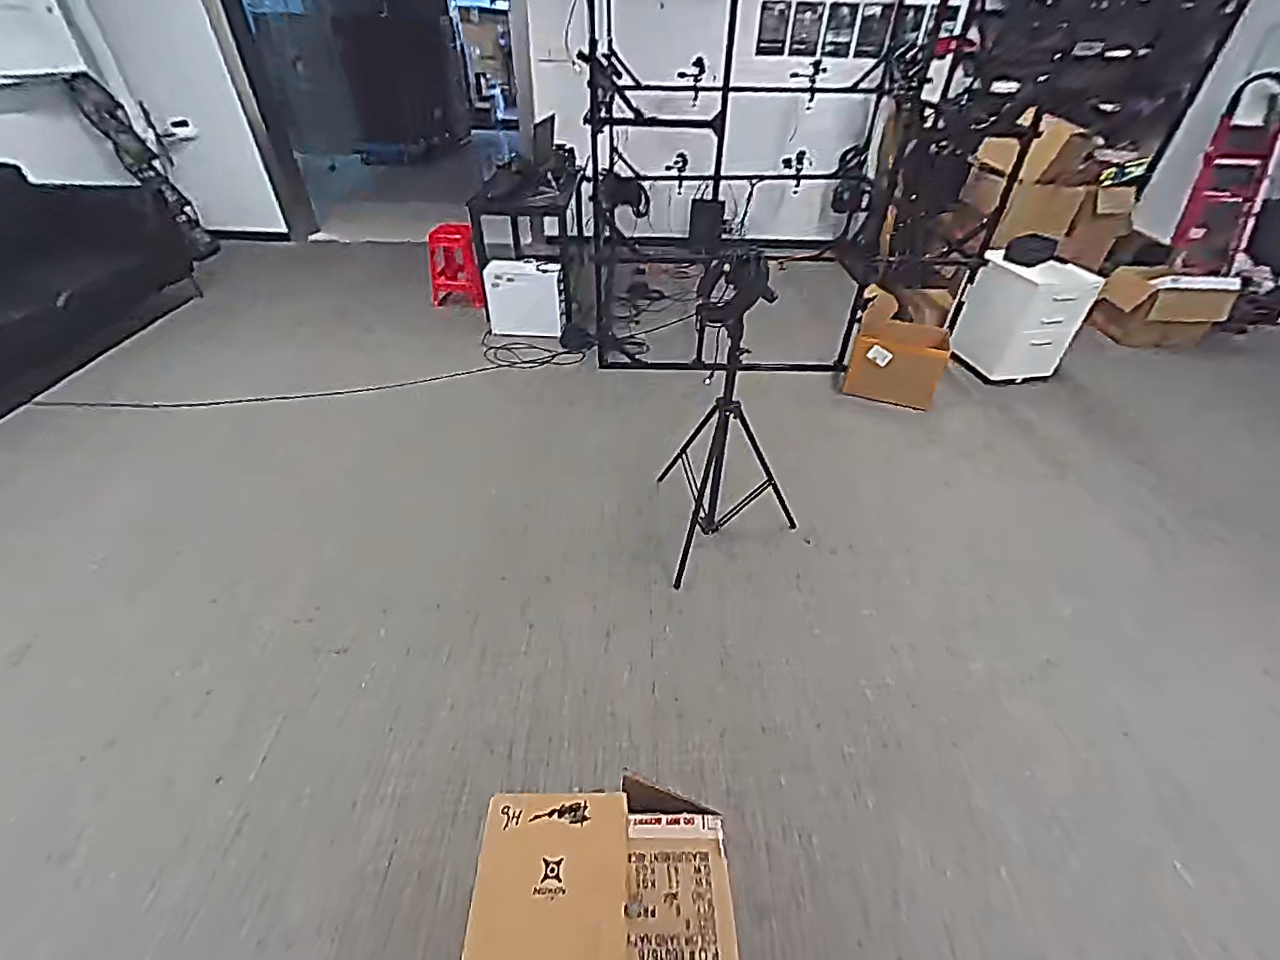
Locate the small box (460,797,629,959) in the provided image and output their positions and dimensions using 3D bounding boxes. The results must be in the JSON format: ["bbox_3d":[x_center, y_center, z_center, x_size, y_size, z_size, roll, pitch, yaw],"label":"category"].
[{"bbox_3d":[-0.098,0.497,0.637,0.168,0.176,0.179,0,43,0],"label":"small box"}]
